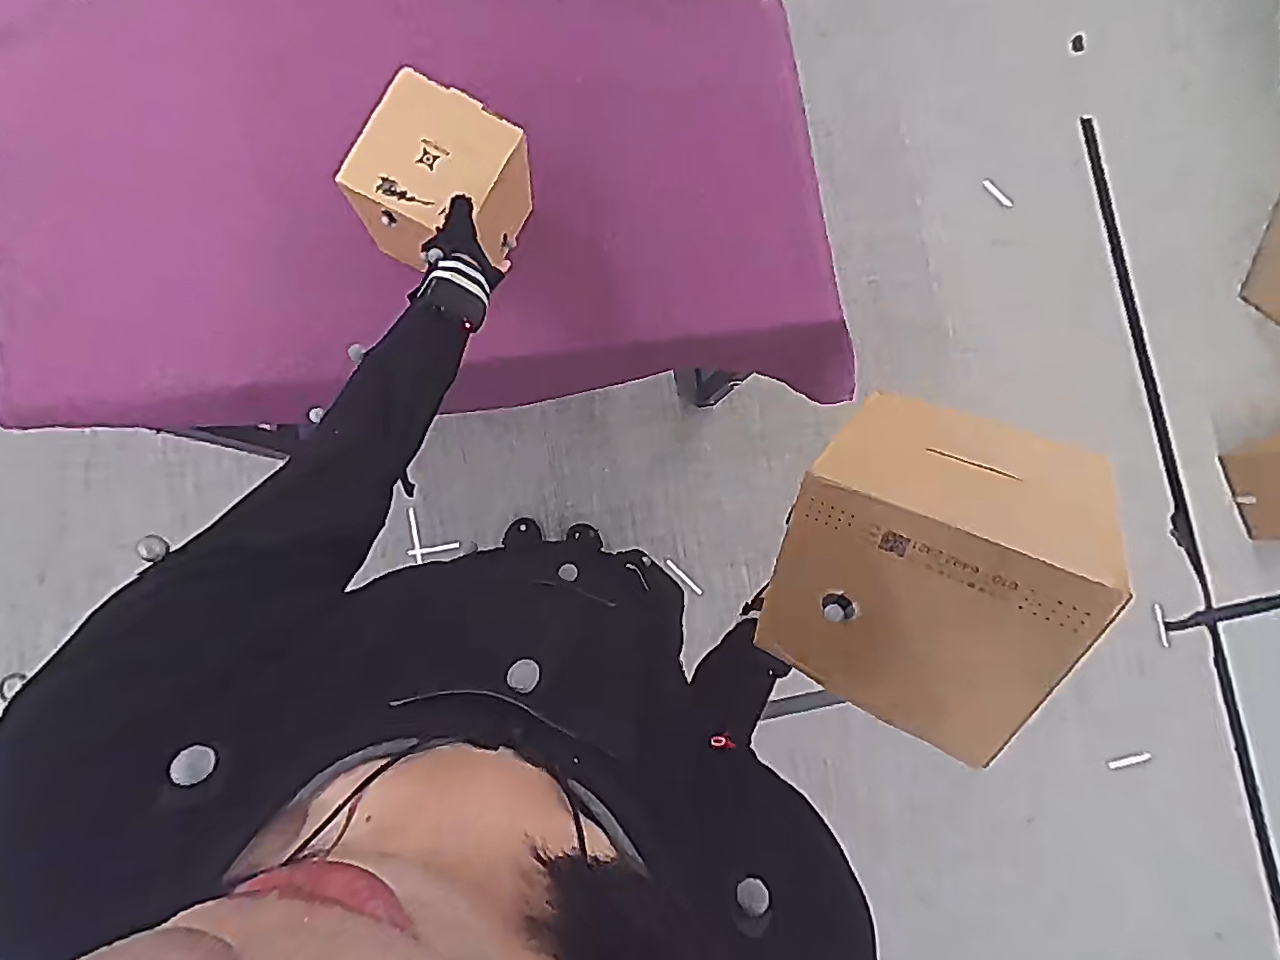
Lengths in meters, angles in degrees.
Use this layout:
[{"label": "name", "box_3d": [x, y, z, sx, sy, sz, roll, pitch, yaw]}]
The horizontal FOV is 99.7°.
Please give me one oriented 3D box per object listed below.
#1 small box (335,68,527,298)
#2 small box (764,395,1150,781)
[{"label": "small box", "box_3d": [-0.265, -0.386, 0.734, 0.168, 0.176, 0.179, 26, 81, -5]}, {"label": "small box", "box_3d": [0.211, 0.057, 0.385, 0.168, 0.176, 0.179, 26, 38, 25]}]
